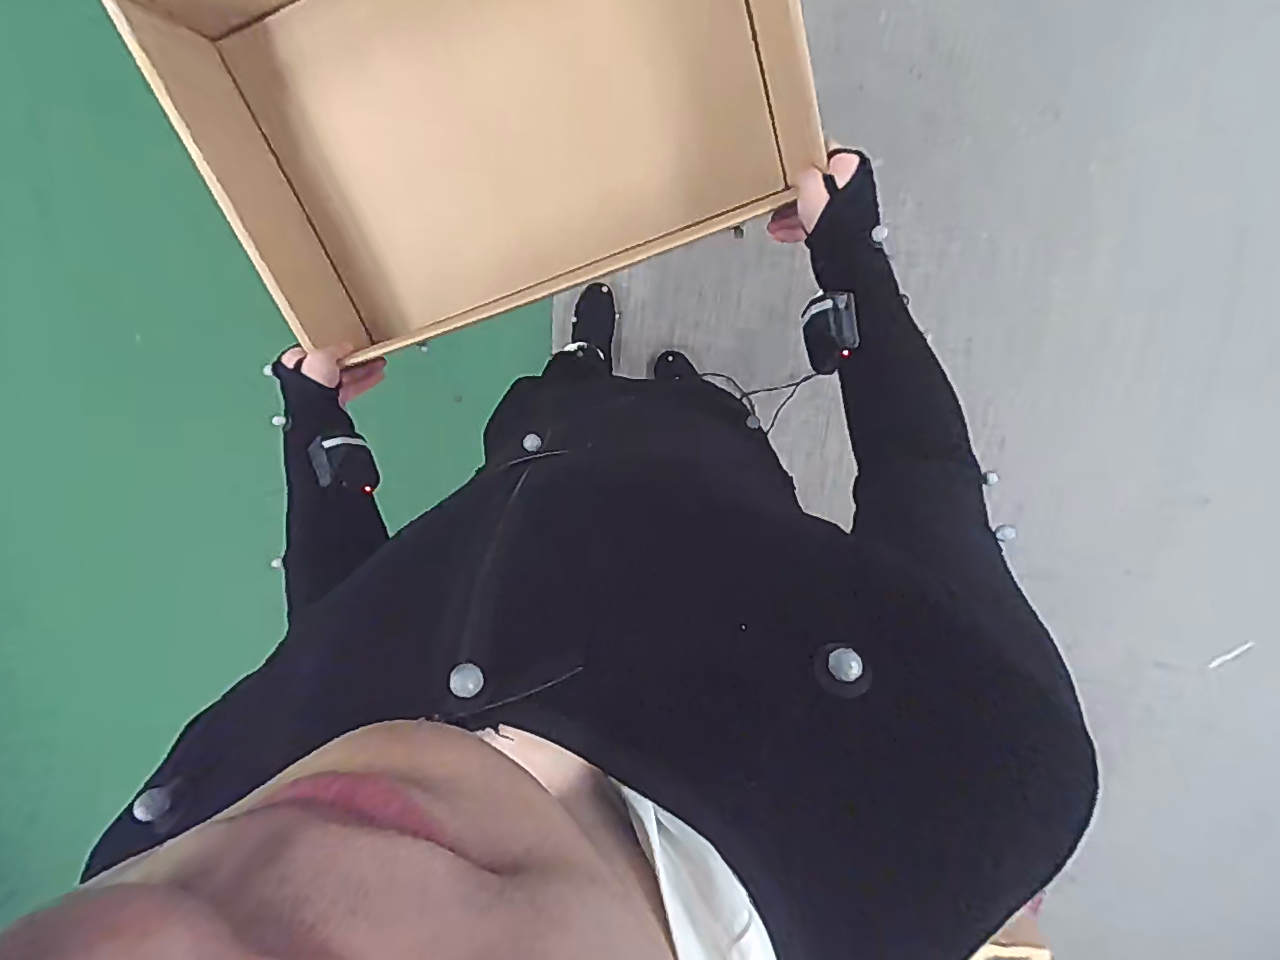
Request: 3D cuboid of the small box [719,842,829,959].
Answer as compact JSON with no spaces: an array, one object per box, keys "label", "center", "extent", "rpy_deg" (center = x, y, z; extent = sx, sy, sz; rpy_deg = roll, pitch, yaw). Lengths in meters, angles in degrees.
[{"label":"small box","center":[0.246,0.842,1.035],"extent":[0.168,0.176,0.179],"rpy_deg":[3,106,2]}]
